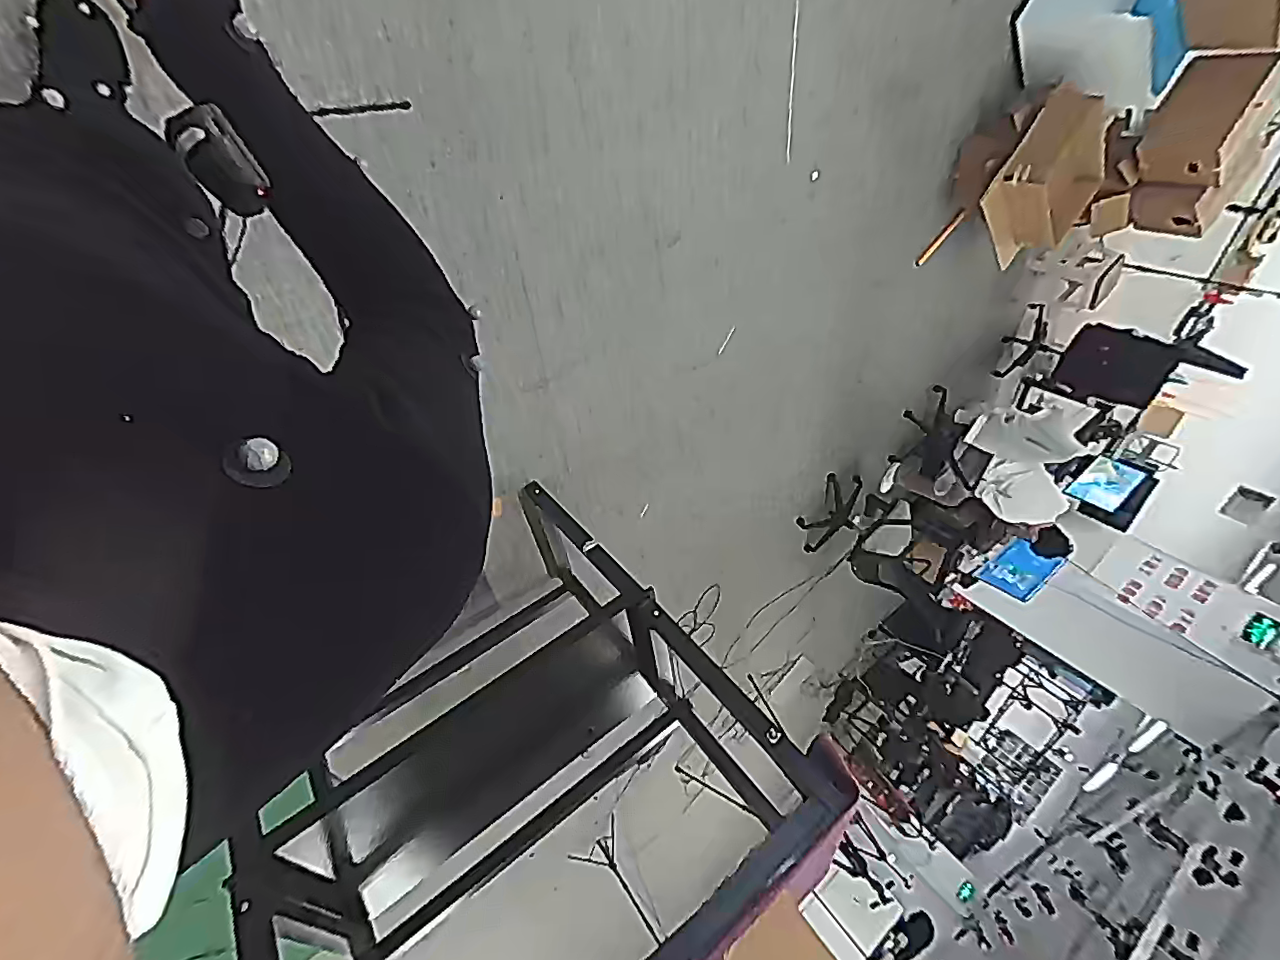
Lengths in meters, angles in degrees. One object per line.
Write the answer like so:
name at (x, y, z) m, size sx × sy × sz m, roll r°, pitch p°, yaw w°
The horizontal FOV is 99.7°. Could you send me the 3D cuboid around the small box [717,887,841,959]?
small box at (0.272, 0.958, 1.065) m, size 0.179 × 0.176 × 0.168 m, roll -27°, pitch 134°, yaw -25°
